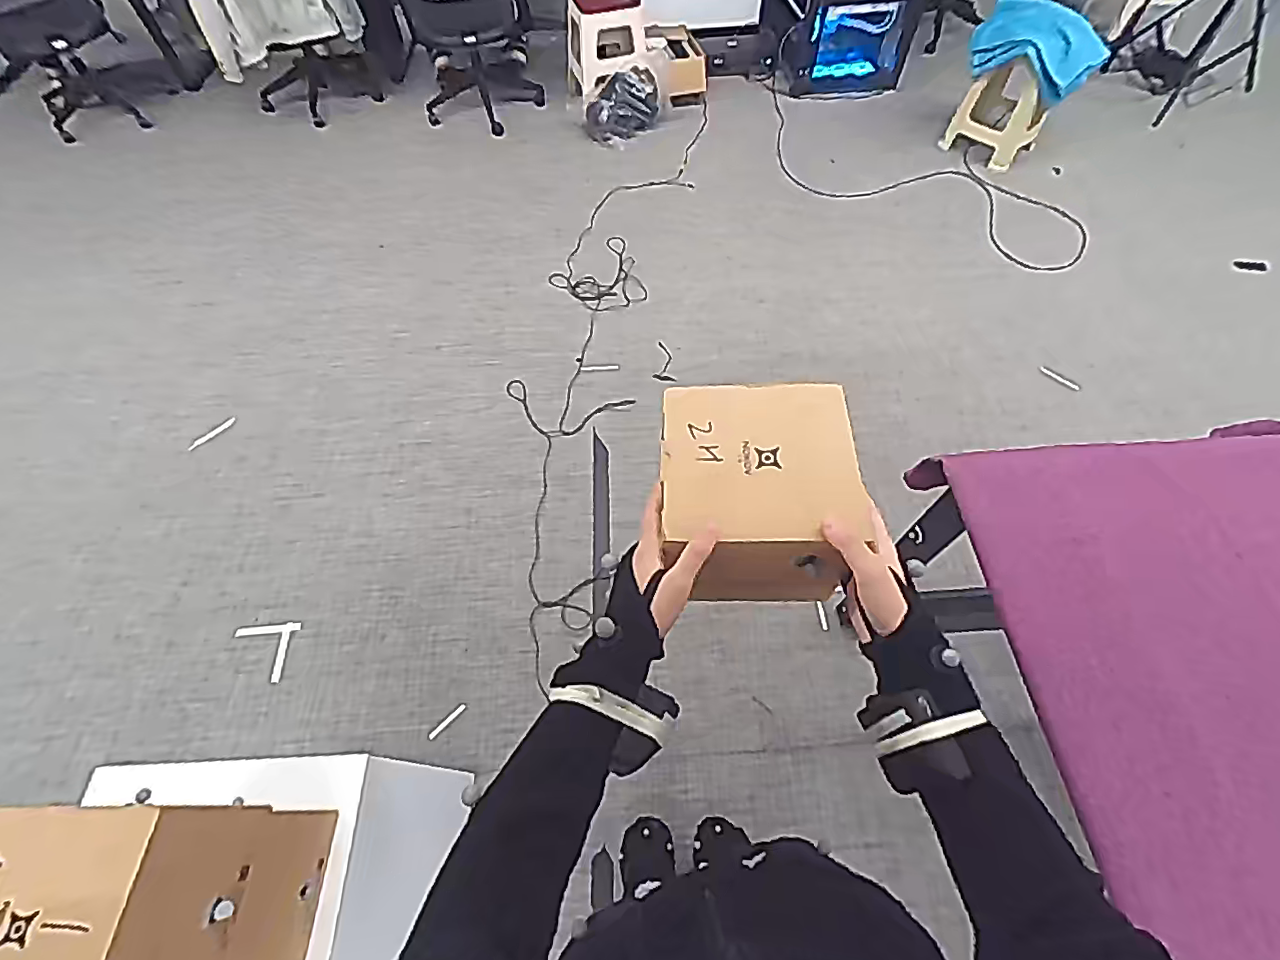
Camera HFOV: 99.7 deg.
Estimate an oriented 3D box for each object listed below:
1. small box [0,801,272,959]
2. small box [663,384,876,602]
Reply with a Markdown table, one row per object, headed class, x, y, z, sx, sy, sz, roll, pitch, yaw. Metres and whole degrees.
| class | x | y | z | sx | sy | sz | roll | pitch | yaw |
| --- | --- | --- | --- | --- | --- | --- | --- | --- | --- |
| small box | -0.497 | 0.395 | 0.499 | 0.179 | 0.176 | 0.168 | -1 | 60 | 0 |
| small box | 0.113 | 0.020 | 0.551 | 0.179 | 0.176 | 0.168 | -1 | 60 | 4 |
